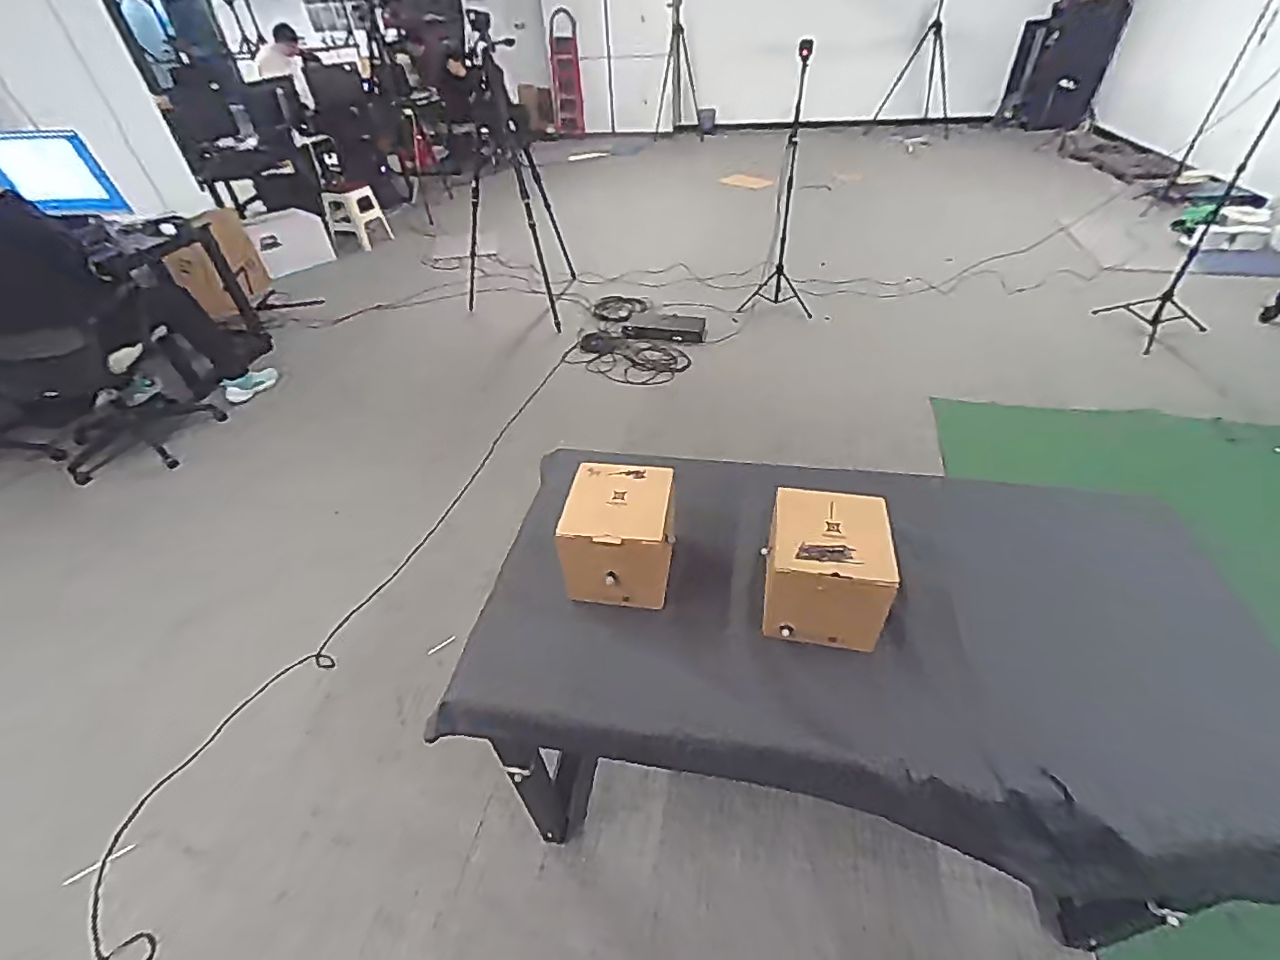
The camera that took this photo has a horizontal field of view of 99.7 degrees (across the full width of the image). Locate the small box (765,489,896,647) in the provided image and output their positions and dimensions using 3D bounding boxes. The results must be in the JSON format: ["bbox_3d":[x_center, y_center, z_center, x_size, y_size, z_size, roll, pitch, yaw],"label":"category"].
[{"bbox_3d":[0.291,0.139,0.856,0.168,0.176,0.179,6,41,12],"label":"small box"}]

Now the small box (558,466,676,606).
[{"bbox_3d":[-0.028,0.097,0.934,0.168,0.176,0.179,4,42,9],"label":"small box"}]
